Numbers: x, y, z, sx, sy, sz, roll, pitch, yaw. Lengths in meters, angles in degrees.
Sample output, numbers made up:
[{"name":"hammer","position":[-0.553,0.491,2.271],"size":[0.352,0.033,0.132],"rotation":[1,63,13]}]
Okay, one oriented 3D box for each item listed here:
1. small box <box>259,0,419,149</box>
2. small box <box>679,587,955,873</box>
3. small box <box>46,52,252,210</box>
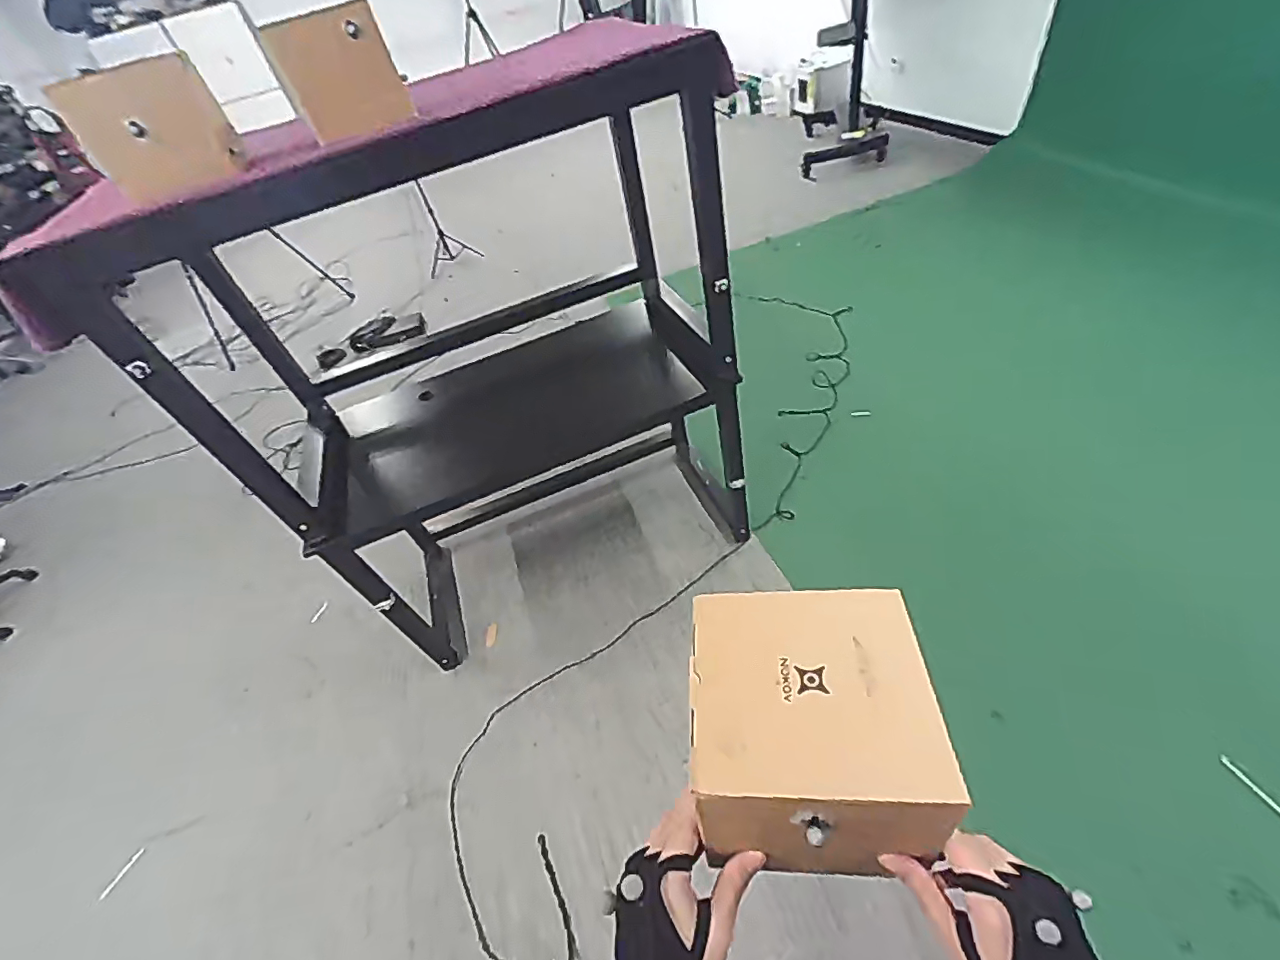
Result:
[{"name":"small box","position":[-0.511,-0.702,0.943],"size":[0.179,0.176,0.168],"rotation":[-23,45,-7]},{"name":"small box","position":[0.133,0.210,0.458],"size":[0.179,0.176,0.168],"rotation":[-4,41,10]},{"name":"small box","position":[-0.793,-0.580,0.901],"size":[0.179,0.176,0.168],"rotation":[-25,45,-7]}]
